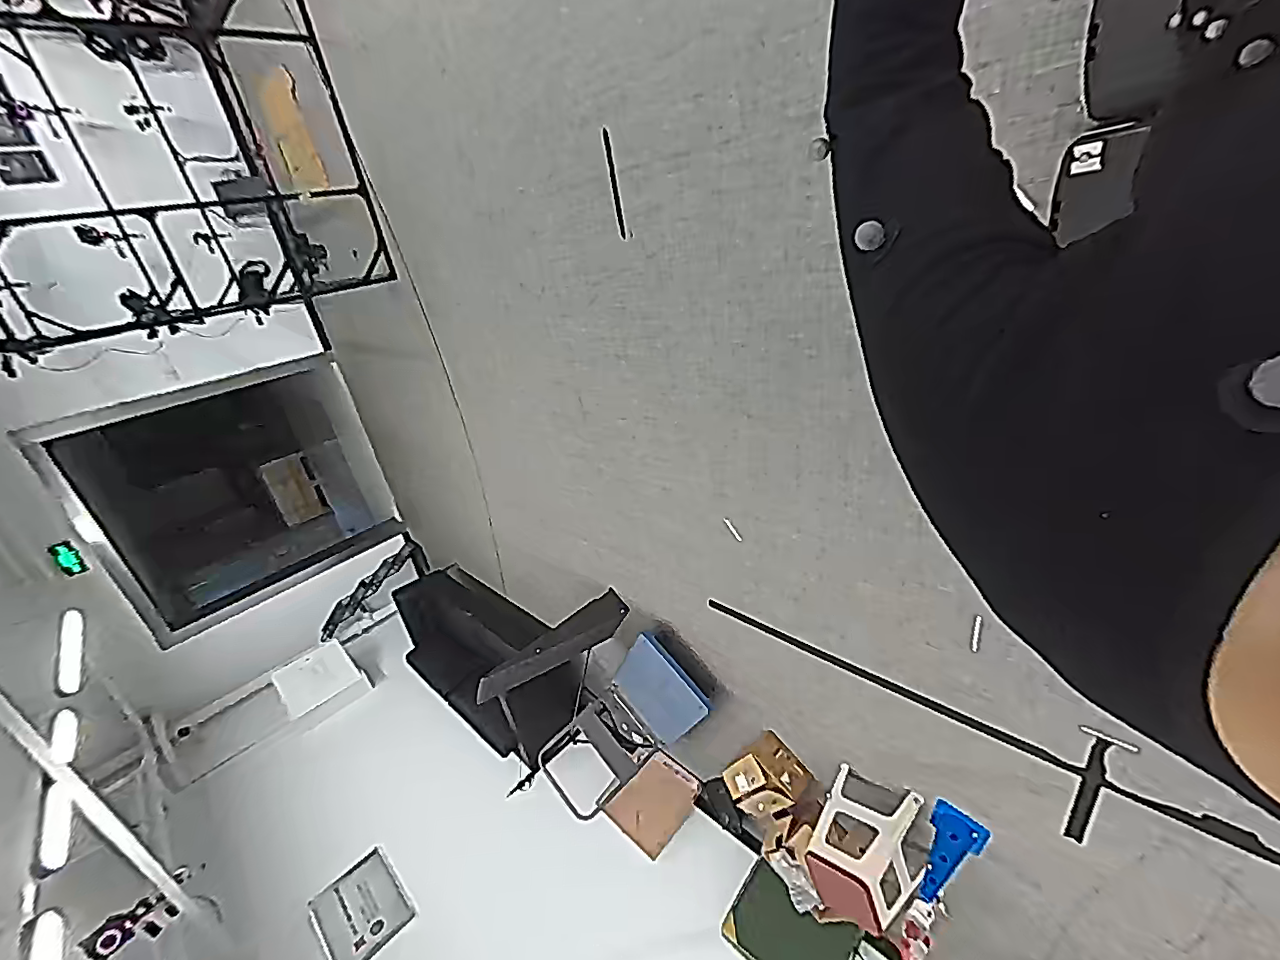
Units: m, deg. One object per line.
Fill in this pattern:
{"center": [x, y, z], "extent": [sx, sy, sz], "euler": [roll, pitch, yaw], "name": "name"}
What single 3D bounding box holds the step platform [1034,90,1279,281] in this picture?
{"center": [1.129, -0.536, 0.967], "extent": [0.684, 0.204, 0.286], "euler": [15, 125, 46], "name": "step platform"}
